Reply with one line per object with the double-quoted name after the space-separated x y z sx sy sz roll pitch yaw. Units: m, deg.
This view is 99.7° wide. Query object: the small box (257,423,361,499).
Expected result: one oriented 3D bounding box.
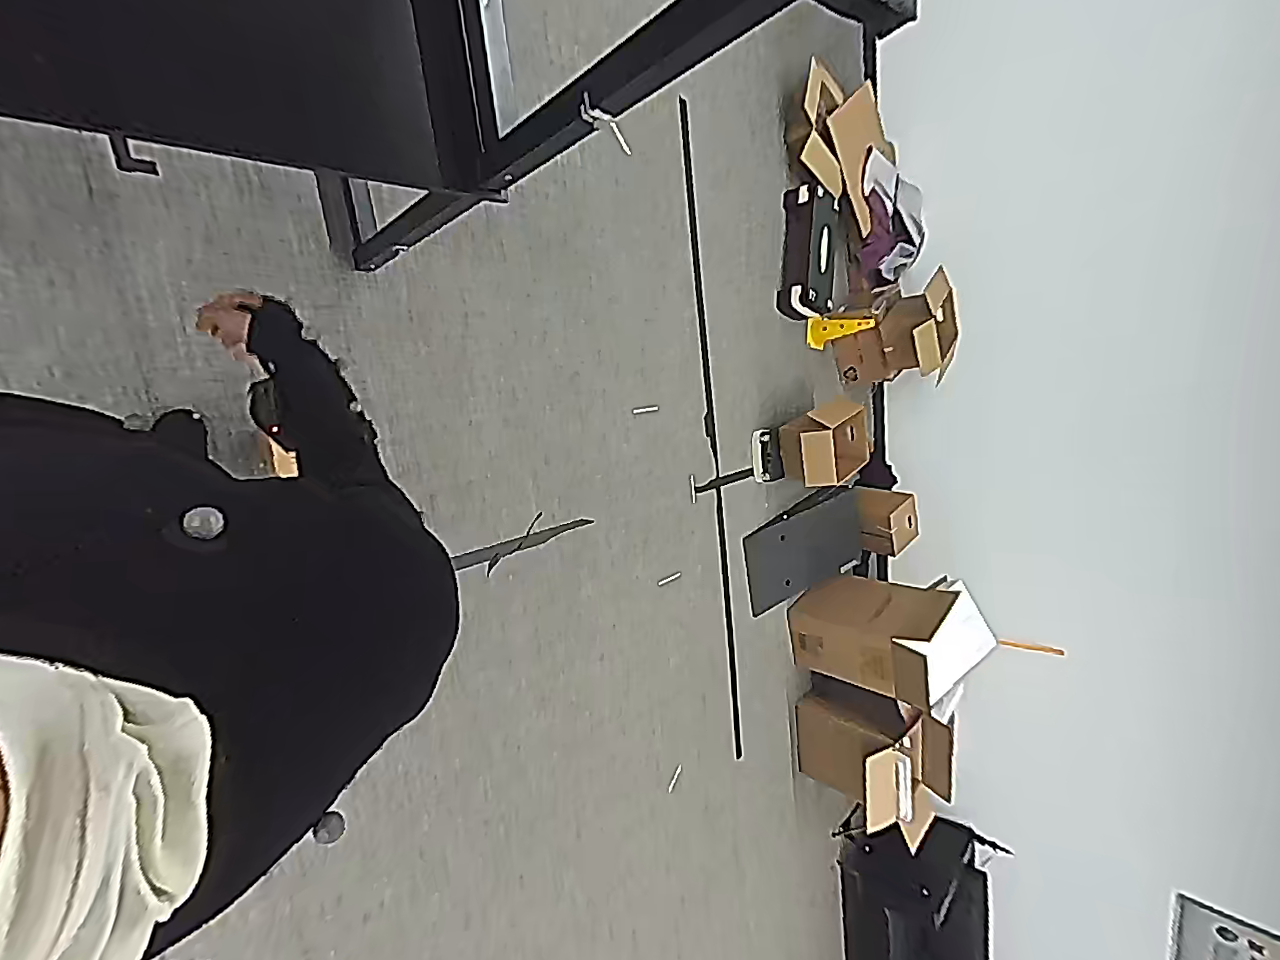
-0.854 -0.056 1.395 0.179 0.176 0.168 -18 106 -41 "small box"
